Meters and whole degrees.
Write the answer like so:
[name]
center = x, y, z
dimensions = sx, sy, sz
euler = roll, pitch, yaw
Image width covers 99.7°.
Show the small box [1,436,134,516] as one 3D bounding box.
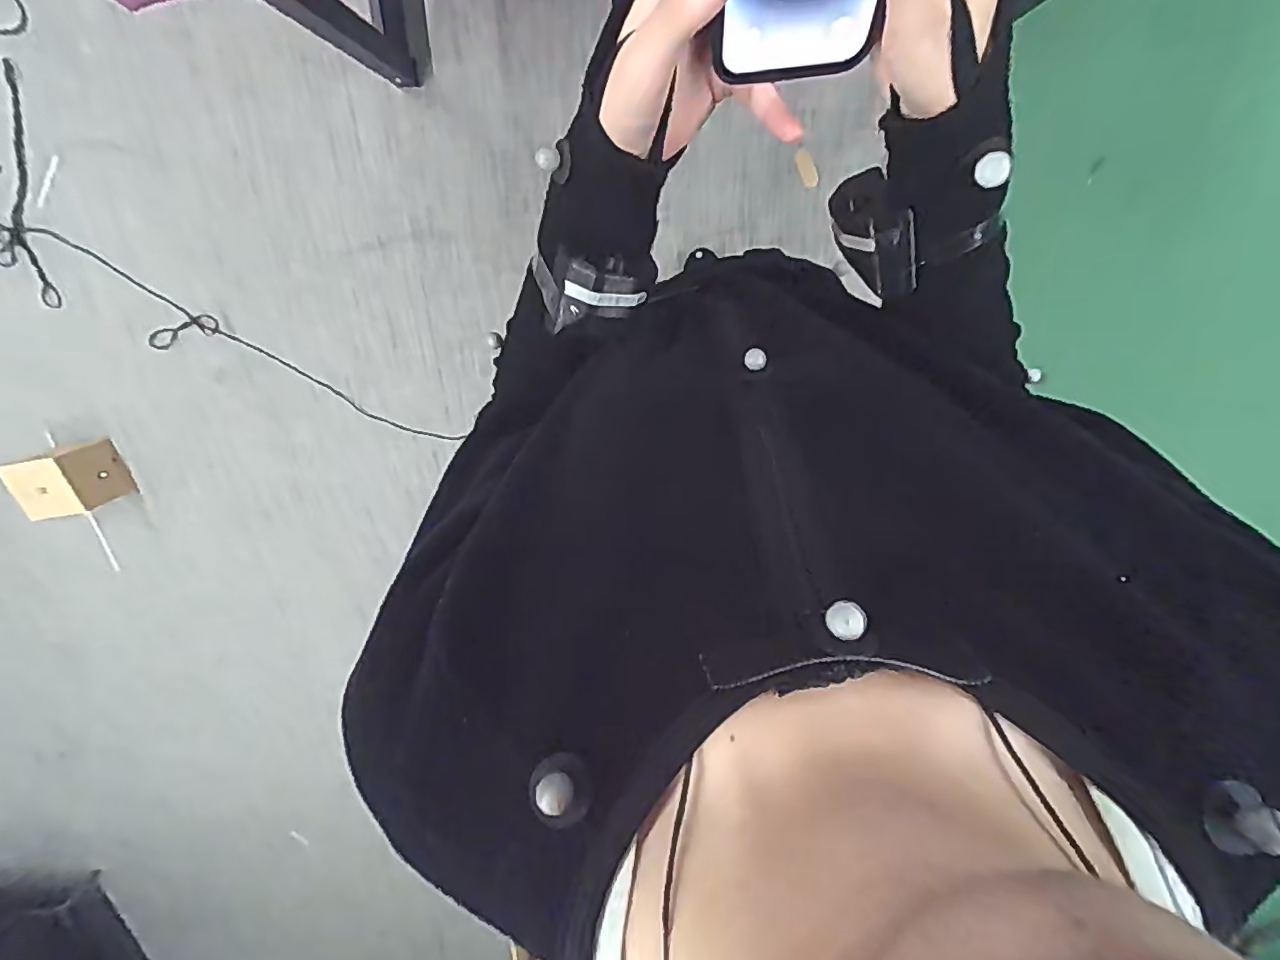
[small box]
center = -1.603, -0.017, 1.535
dimensions = 0.179, 0.176, 0.168
euler = -8, 112, 6
